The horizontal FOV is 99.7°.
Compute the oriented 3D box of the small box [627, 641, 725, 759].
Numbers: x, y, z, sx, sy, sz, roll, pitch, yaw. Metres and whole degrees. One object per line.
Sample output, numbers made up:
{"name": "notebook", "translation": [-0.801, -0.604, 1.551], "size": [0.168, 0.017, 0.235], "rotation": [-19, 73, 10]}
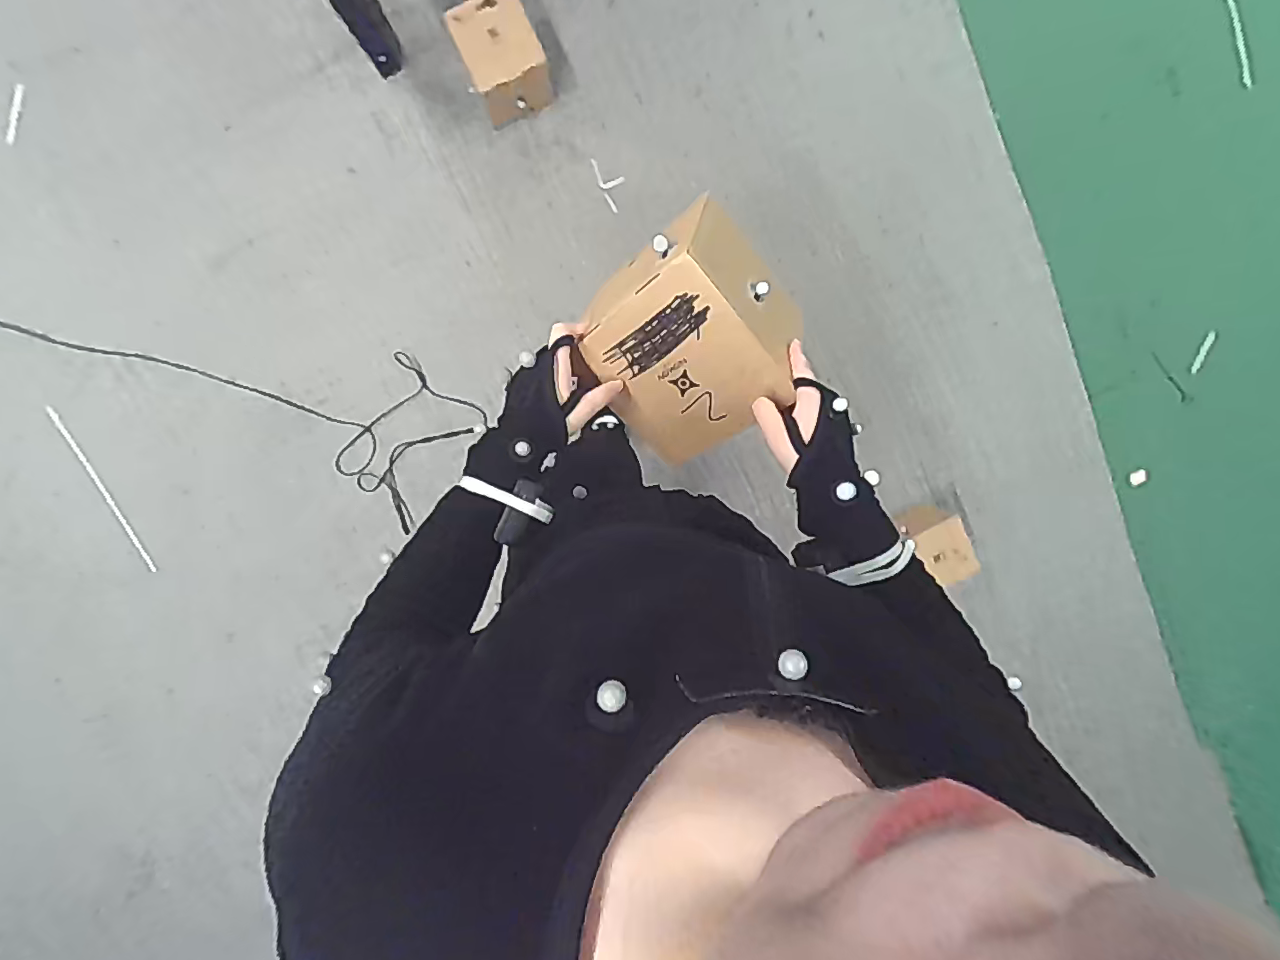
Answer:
{"name": "small box", "translation": [0.080, 0.525, 1.318], "size": [0.179, 0.176, 0.168], "rotation": [-33, 97, 3]}

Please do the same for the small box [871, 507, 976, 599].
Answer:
{"name": "small box", "translation": [0.751, 0.191, 1.460], "size": [0.179, 0.176, 0.168], "rotation": [-26, 99, 2]}

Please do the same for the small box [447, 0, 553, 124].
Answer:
{"name": "small box", "translation": [-0.314, -0.969, 1.257], "size": [0.168, 0.176, 0.179], "rotation": [-26, 99, 0]}
